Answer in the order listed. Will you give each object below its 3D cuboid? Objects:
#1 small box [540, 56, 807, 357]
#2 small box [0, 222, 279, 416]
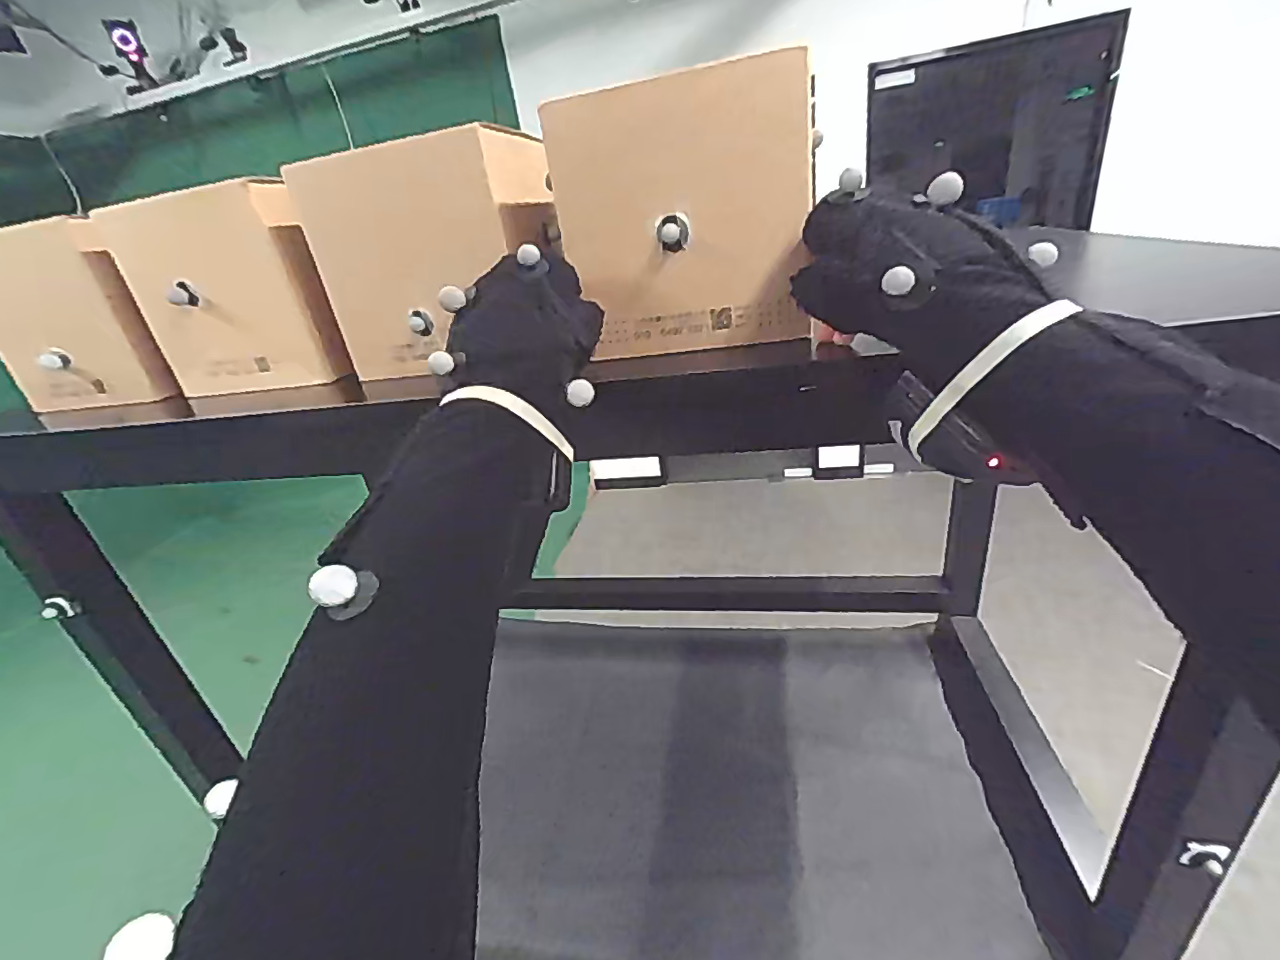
[{"bbox_3d":[0.041,-0.199,0.430,0.168,0.176,0.179,-2,26,12],"label":"small box"},{"bbox_3d":[-0.542,-0.179,0.595,0.168,0.176,0.179,-3,27,13],"label":"small box"}]
